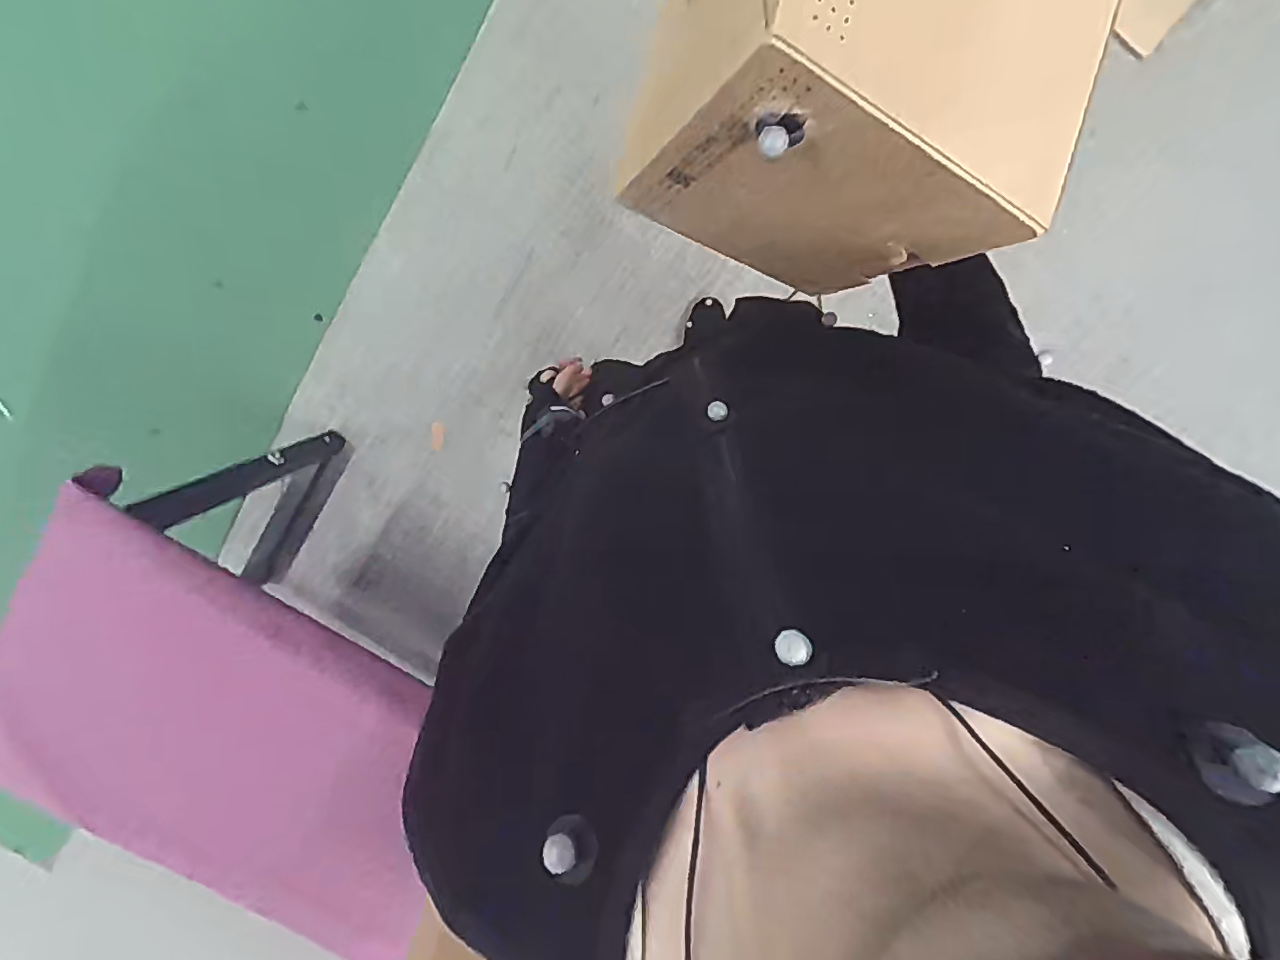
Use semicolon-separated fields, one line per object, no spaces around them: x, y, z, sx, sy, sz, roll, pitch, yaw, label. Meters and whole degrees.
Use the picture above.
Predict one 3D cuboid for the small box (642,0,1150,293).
0.118;-0.227;0.283;0.176;0.168;0.179;16;92;-24;small box
